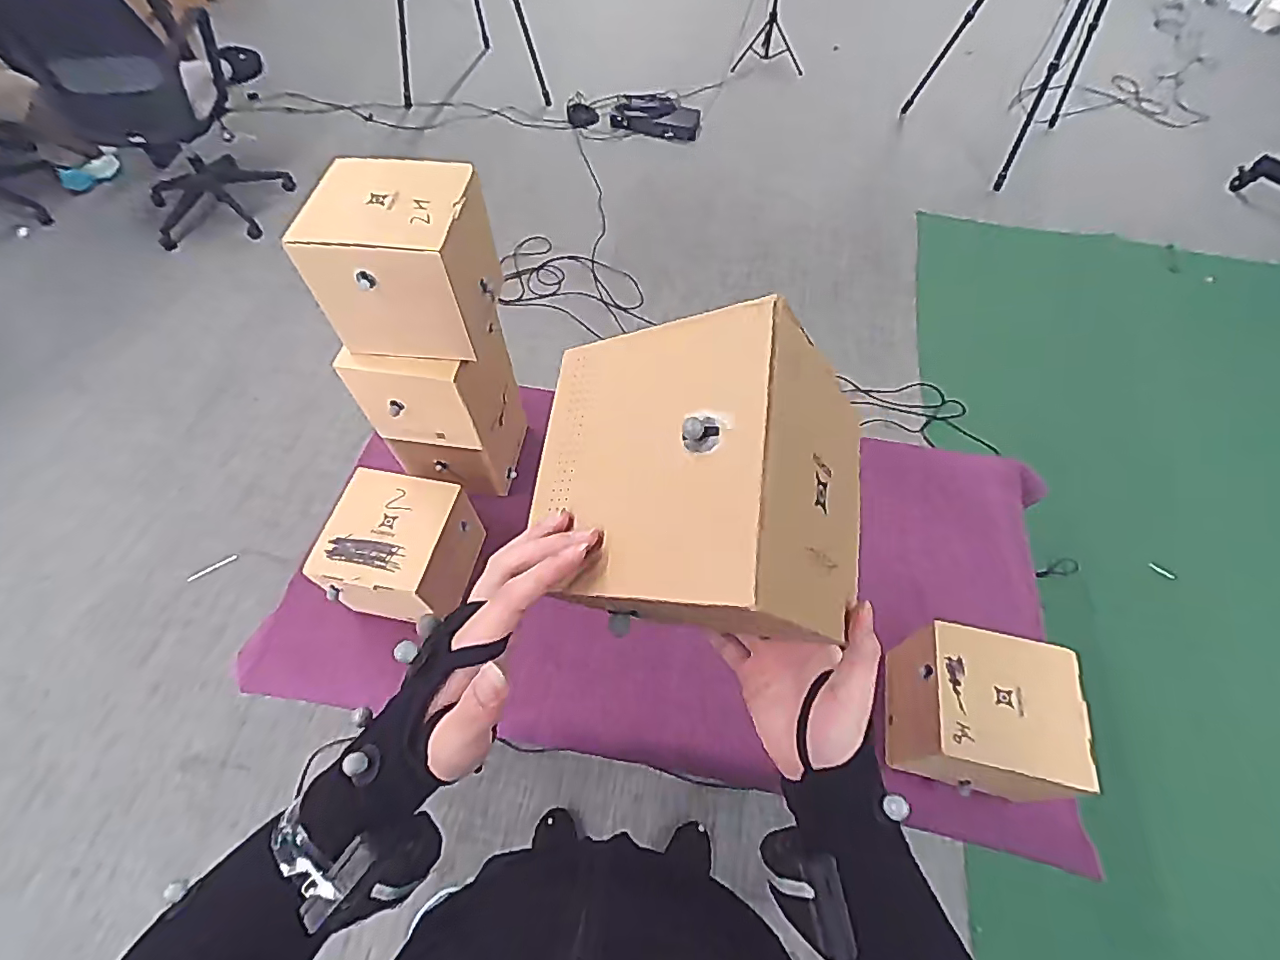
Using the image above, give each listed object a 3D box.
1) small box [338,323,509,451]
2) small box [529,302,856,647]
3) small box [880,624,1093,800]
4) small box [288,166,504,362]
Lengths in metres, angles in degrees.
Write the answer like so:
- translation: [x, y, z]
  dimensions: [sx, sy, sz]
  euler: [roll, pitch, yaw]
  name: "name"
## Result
- translation: [-0.308, -0.163, 0.816]
  dimensions: [0.168, 0.176, 0.179]
  euler: [7, 58, 3]
  name: "small box"
- translation: [0.045, 0.011, 0.382]
  dimensions: [0.176, 0.168, 0.179]
  euler: [-4, 67, 35]
  name: "small box"
- translation: [0.447, 0.316, 0.728]
  dimensions: [0.179, 0.176, 0.168]
  euler: [13, 58, 7]
  name: "small box"
- translation: [-0.289, -0.268, 0.688]
  dimensions: [0.179, 0.176, 0.168]
  euler: [4, 59, 1]
  name: "small box"
